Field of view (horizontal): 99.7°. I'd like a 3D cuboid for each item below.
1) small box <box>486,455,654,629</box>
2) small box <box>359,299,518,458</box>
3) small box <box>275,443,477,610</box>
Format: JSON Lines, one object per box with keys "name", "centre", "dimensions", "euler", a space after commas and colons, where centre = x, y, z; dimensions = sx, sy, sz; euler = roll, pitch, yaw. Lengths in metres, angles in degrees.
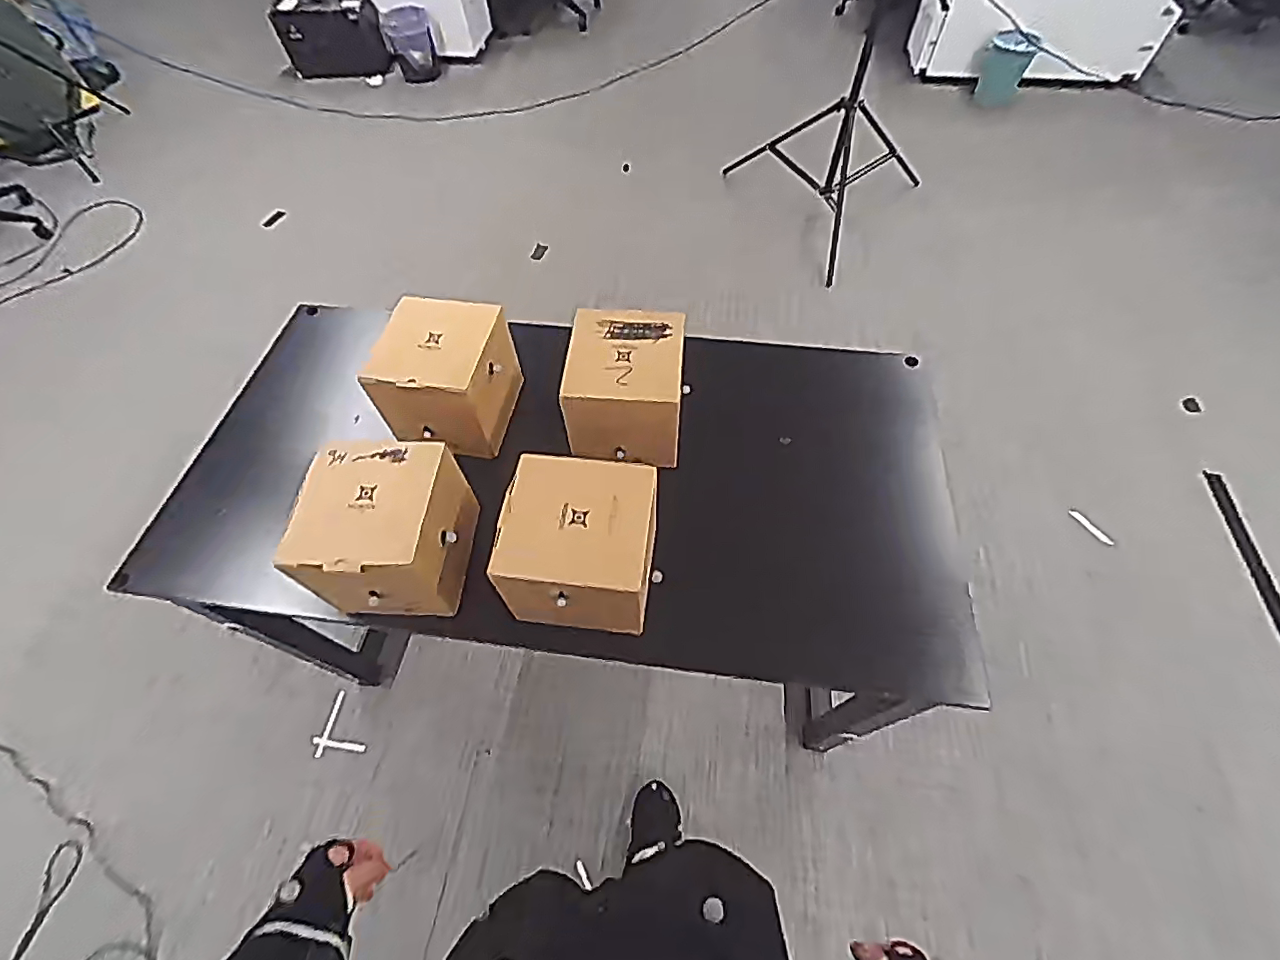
{"name": "small box", "centre": [-0.076, 0.086, 0.708], "dimensions": [0.179, 0.176, 0.168], "euler": [5, 59, 4]}
{"name": "small box", "centre": [-0.305, -0.160, 0.869], "dimensions": [0.168, 0.176, 0.179], "euler": [7, 59, 6]}
{"name": "small box", "centre": [-0.333, 0.068, 0.725], "dimensions": [0.168, 0.176, 0.179], "euler": [0, 58, 2]}
